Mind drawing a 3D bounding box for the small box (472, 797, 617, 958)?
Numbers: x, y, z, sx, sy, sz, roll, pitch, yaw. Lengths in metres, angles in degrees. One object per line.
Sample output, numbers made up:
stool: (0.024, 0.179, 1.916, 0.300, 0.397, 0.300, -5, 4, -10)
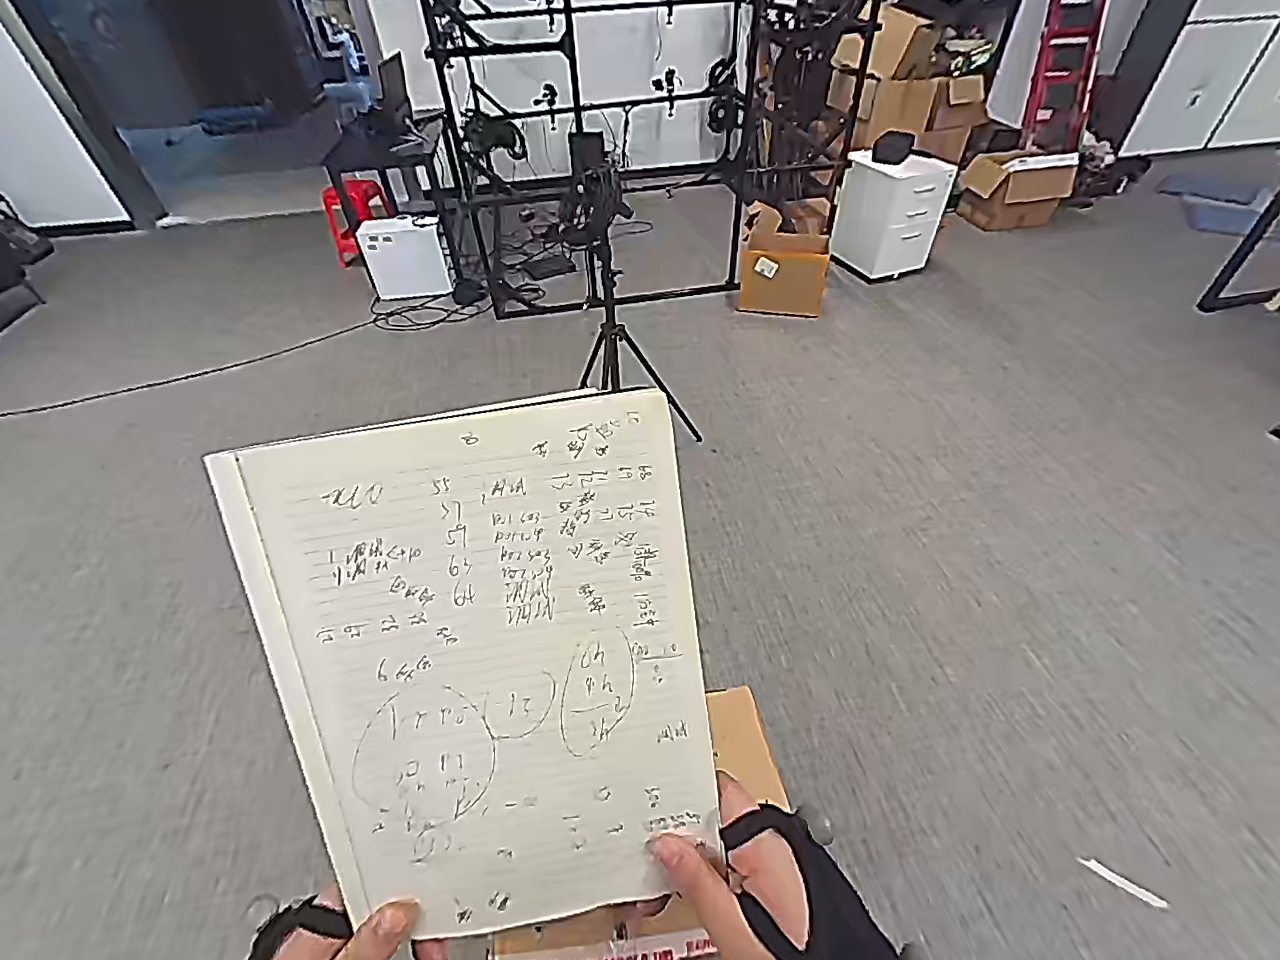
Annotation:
small box: (-0.124, 0.579, 0.786, 0.179, 0.176, 0.168, -5, 46, 0)

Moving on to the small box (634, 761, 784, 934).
small box: (0.089, 0.548, 0.808, 0.179, 0.176, 0.168, -9, 45, -8)
